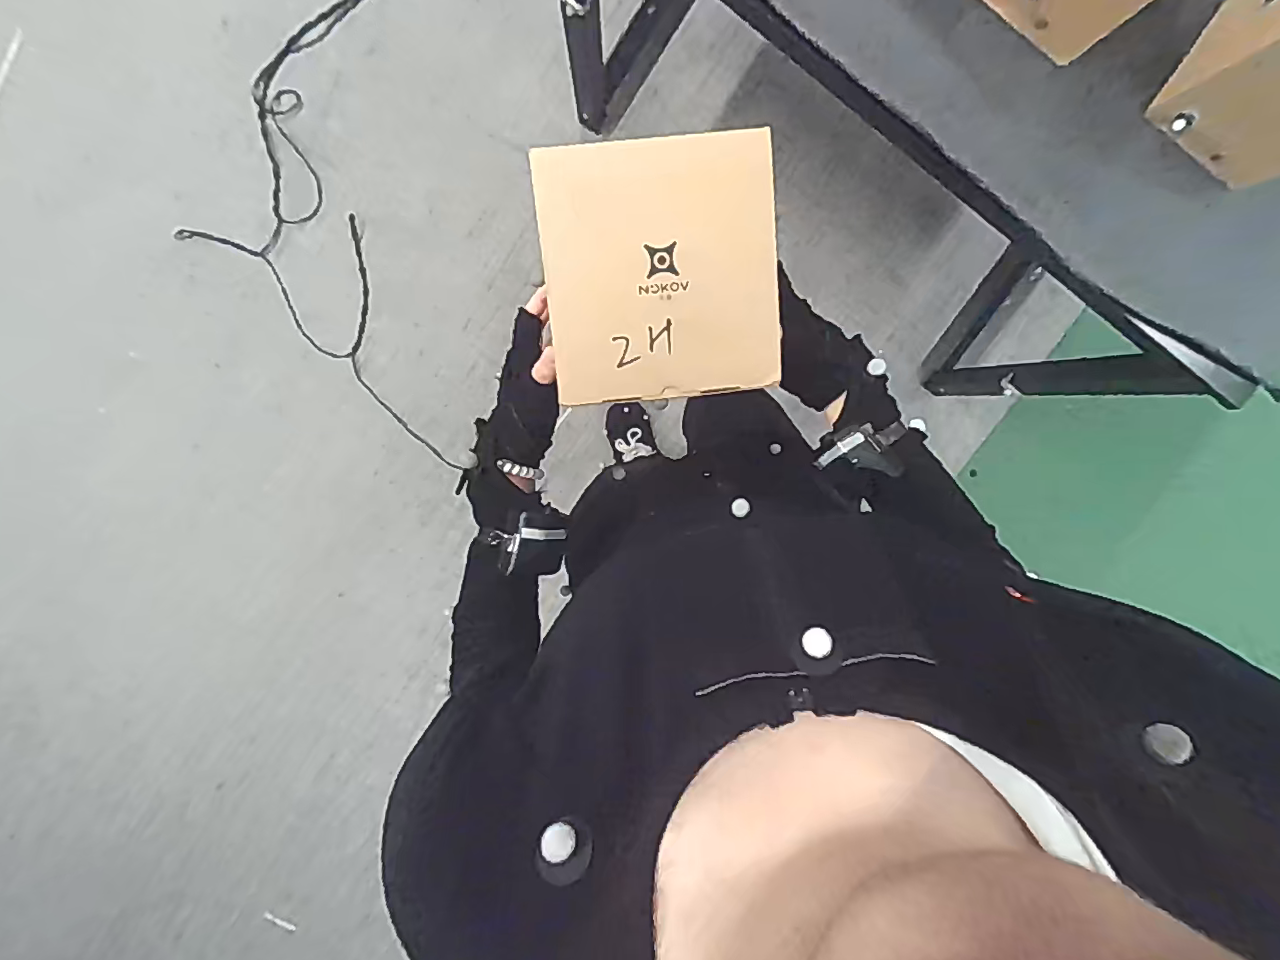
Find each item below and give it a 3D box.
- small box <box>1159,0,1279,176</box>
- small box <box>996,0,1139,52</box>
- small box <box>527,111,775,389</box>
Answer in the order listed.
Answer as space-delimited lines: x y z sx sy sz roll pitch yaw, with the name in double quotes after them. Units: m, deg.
0.754 -0.486 0.605 0.168 0.176 0.179 33 96 -7 "small box"
0.510 -0.627 0.575 0.168 0.176 0.179 33 97 -7 "small box"
0.008 -0.170 0.453 0.168 0.176 0.179 -5 102 -1 "small box"
